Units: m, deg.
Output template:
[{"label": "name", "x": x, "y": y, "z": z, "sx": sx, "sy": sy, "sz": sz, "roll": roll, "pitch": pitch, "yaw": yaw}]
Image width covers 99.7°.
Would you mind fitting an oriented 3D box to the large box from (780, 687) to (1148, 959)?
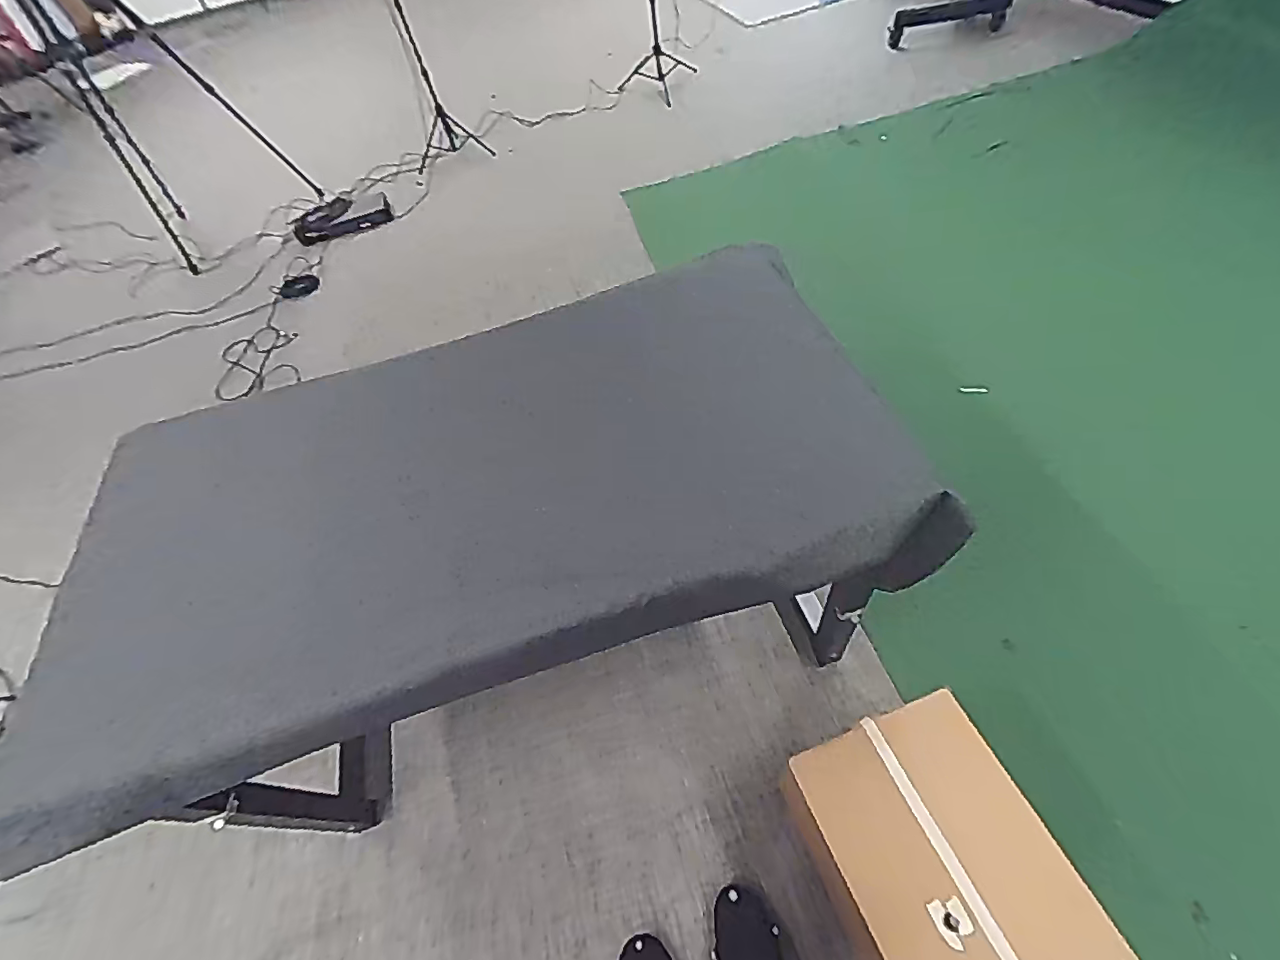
[{"label": "large box", "x": 0.486, "y": 0.640, "z": 0.932, "sx": 0.320, "sy": 0.320, "sz": 0.408, "roll": -22, "pitch": 55, "yaw": -5}]
